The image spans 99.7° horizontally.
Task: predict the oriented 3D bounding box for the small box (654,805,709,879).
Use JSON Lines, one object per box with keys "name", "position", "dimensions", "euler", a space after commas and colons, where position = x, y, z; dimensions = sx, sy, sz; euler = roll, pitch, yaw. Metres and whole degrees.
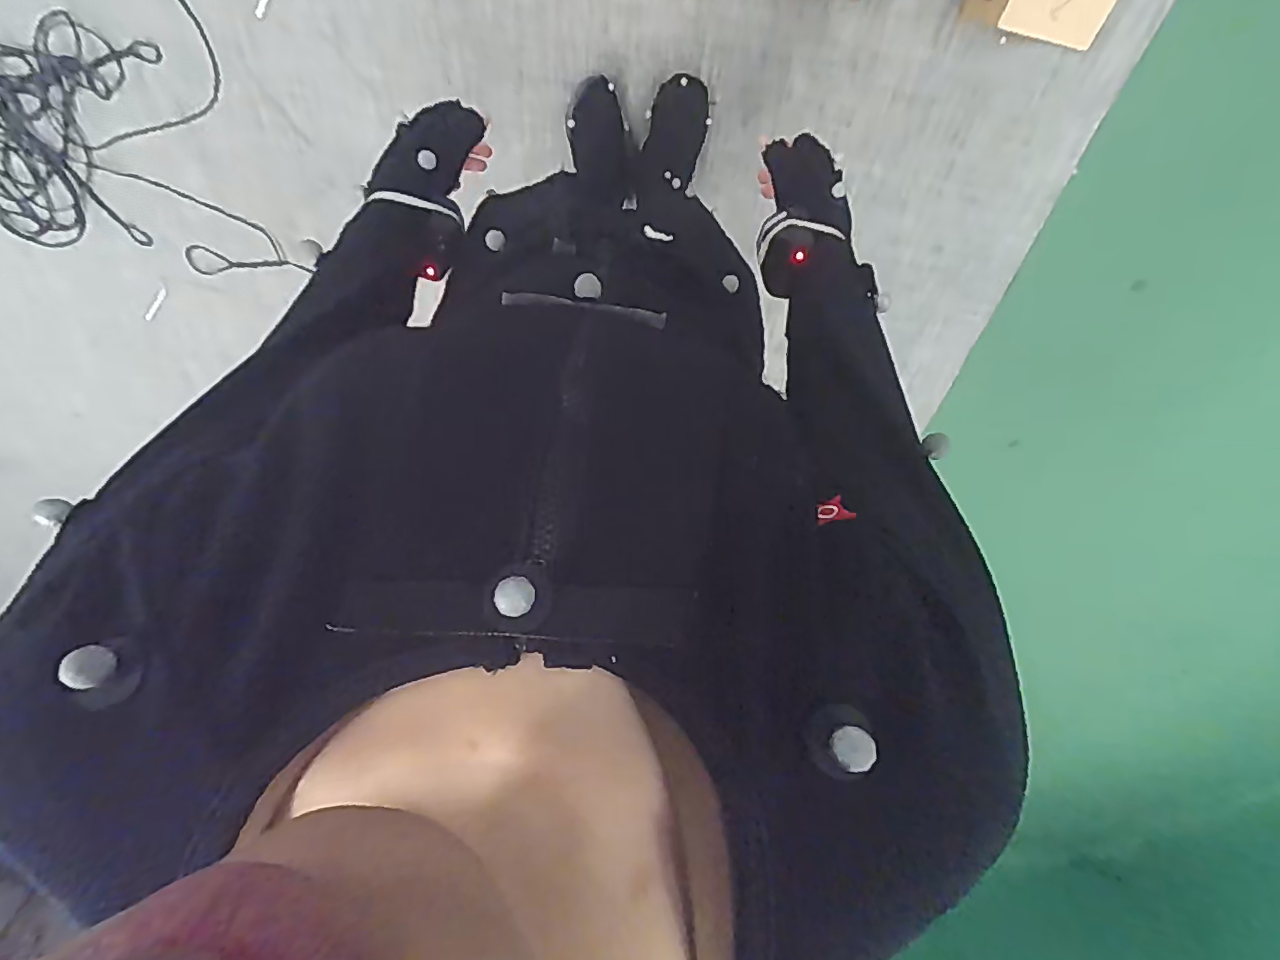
{"name": "small box", "position": [0.141, 1.226, 1.831], "dimensions": [0.168, 0.176, 0.179], "euler": [5, 133, 0]}
